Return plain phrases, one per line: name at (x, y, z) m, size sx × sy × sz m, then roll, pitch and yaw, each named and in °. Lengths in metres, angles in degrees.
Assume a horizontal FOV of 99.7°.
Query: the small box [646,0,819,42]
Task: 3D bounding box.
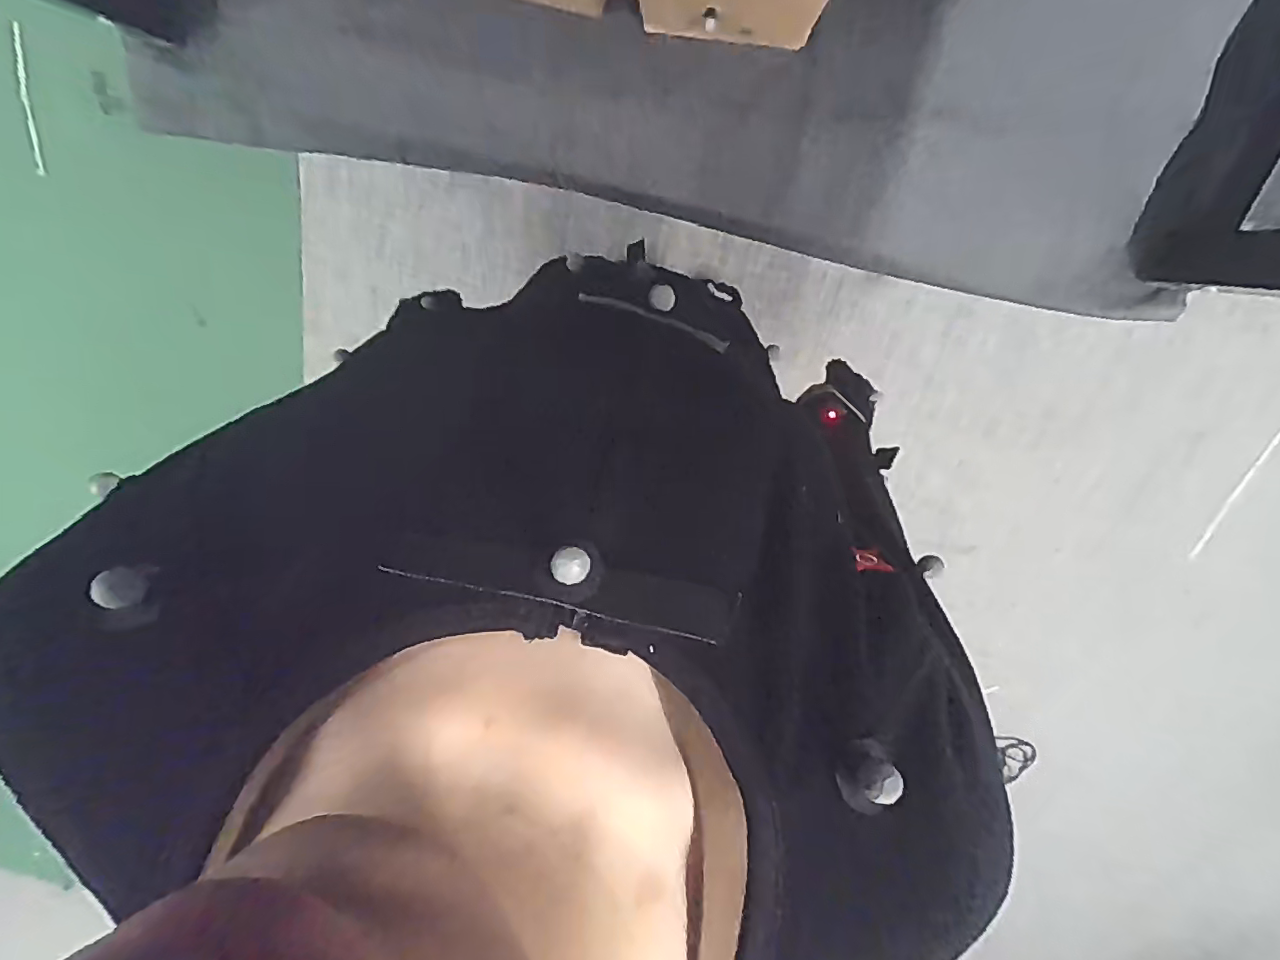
small box at (0.088, -0.511, 0.453) m, size 0.168 × 0.176 × 0.179 m, roll 8°, pitch 114°, yaw 1°
